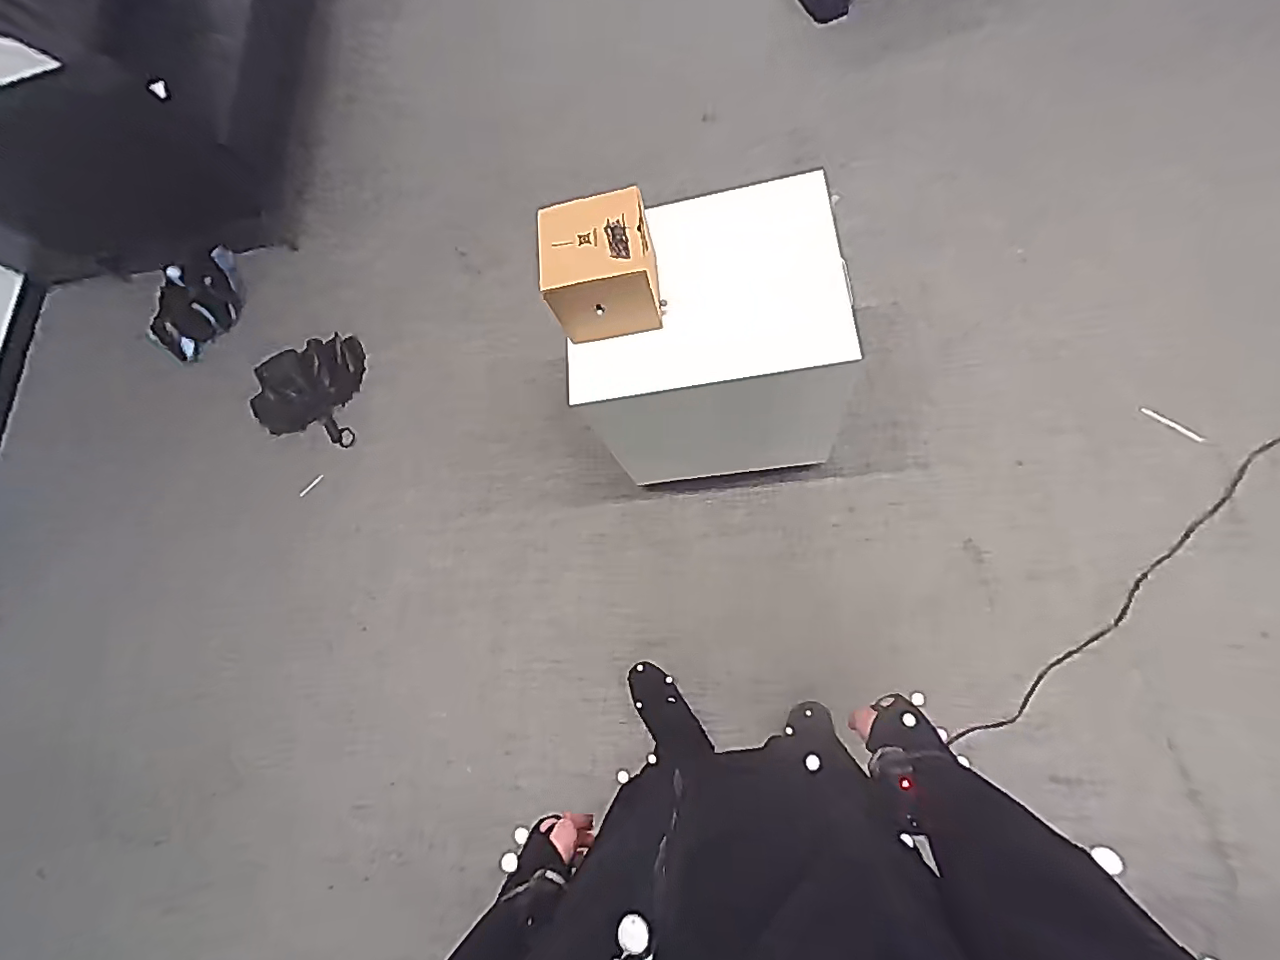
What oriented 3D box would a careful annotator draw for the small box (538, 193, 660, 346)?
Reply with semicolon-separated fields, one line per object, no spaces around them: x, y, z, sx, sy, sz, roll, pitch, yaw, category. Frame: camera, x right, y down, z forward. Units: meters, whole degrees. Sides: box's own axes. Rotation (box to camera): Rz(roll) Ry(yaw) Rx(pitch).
-0.064;-0.358;0.947;0.179;0.176;0.168;-8;72;11;small box
